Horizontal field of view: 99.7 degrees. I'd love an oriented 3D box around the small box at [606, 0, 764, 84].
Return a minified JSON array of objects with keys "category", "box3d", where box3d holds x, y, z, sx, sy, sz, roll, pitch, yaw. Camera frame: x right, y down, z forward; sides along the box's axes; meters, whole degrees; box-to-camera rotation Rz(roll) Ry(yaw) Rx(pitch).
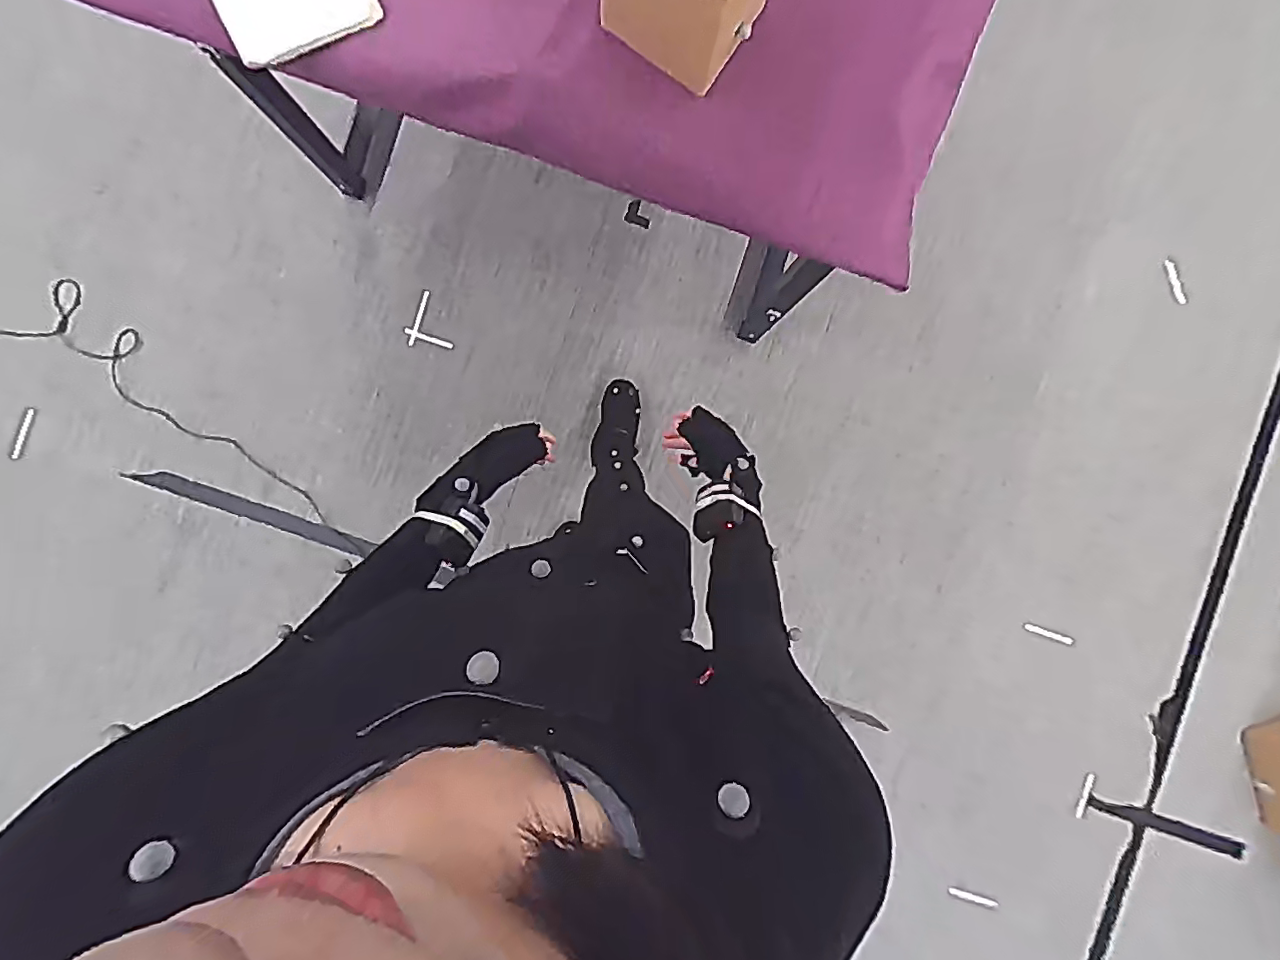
[{"category":"small box","box3d":[0.066,-0.661,0.682,0.179,0.176,0.168,34,88,-3]}]
